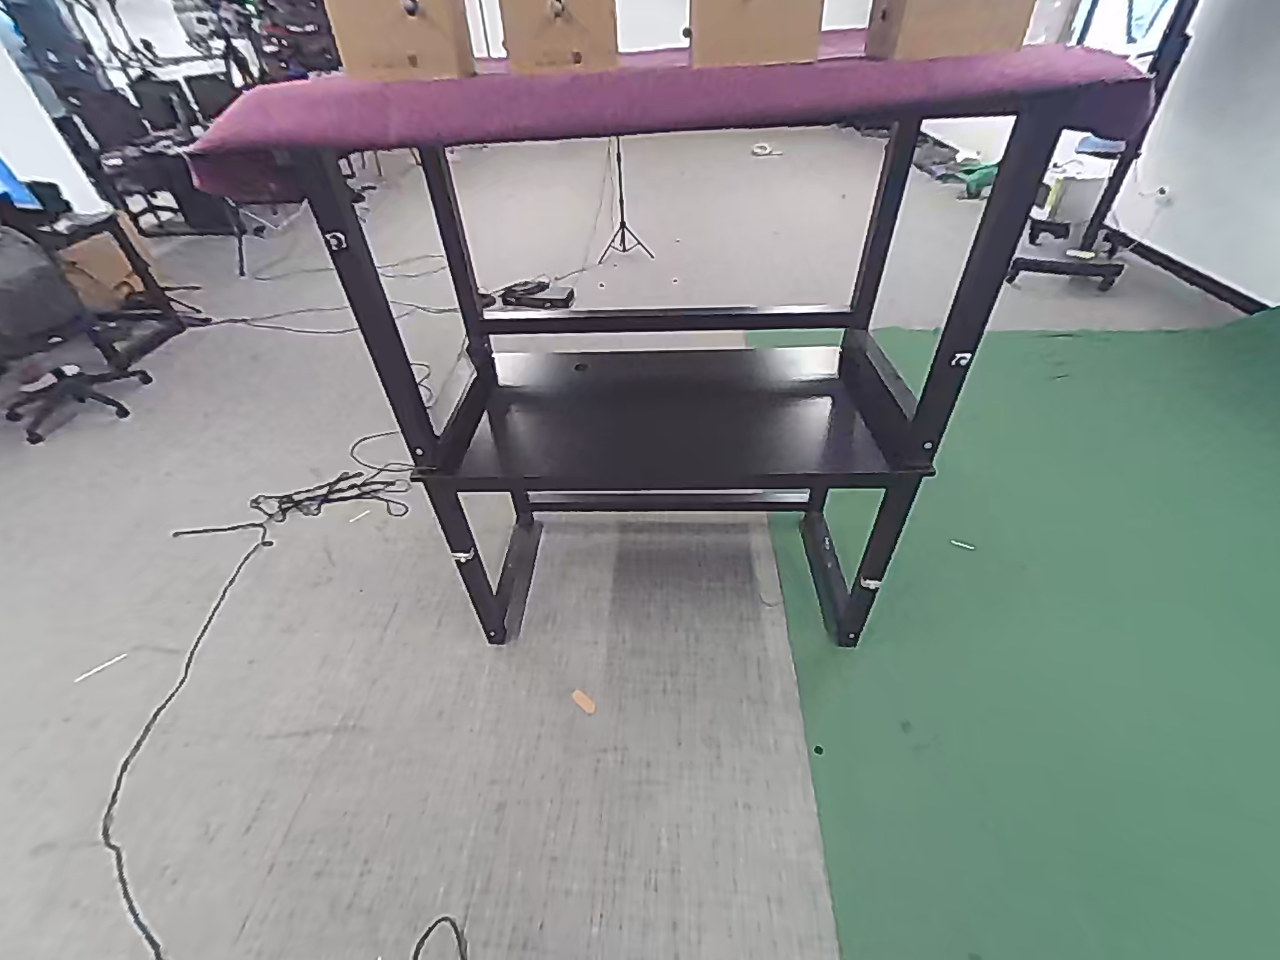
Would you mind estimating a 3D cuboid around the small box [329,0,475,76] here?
[{"bbox_3d":[-0.357,-0.719,0.817,0.168,0.176,0.179,-3,40,-2],"label":"small box"}]

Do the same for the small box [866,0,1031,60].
[{"bbox_3d":[0.444,-0.713,0.766,0.179,0.176,0.168,-1,41,4],"label":"small box"}]

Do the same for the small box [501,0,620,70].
[{"bbox_3d":[-0.117,-0.728,0.815,0.168,0.176,0.179,-3,41,-1],"label":"small box"}]
